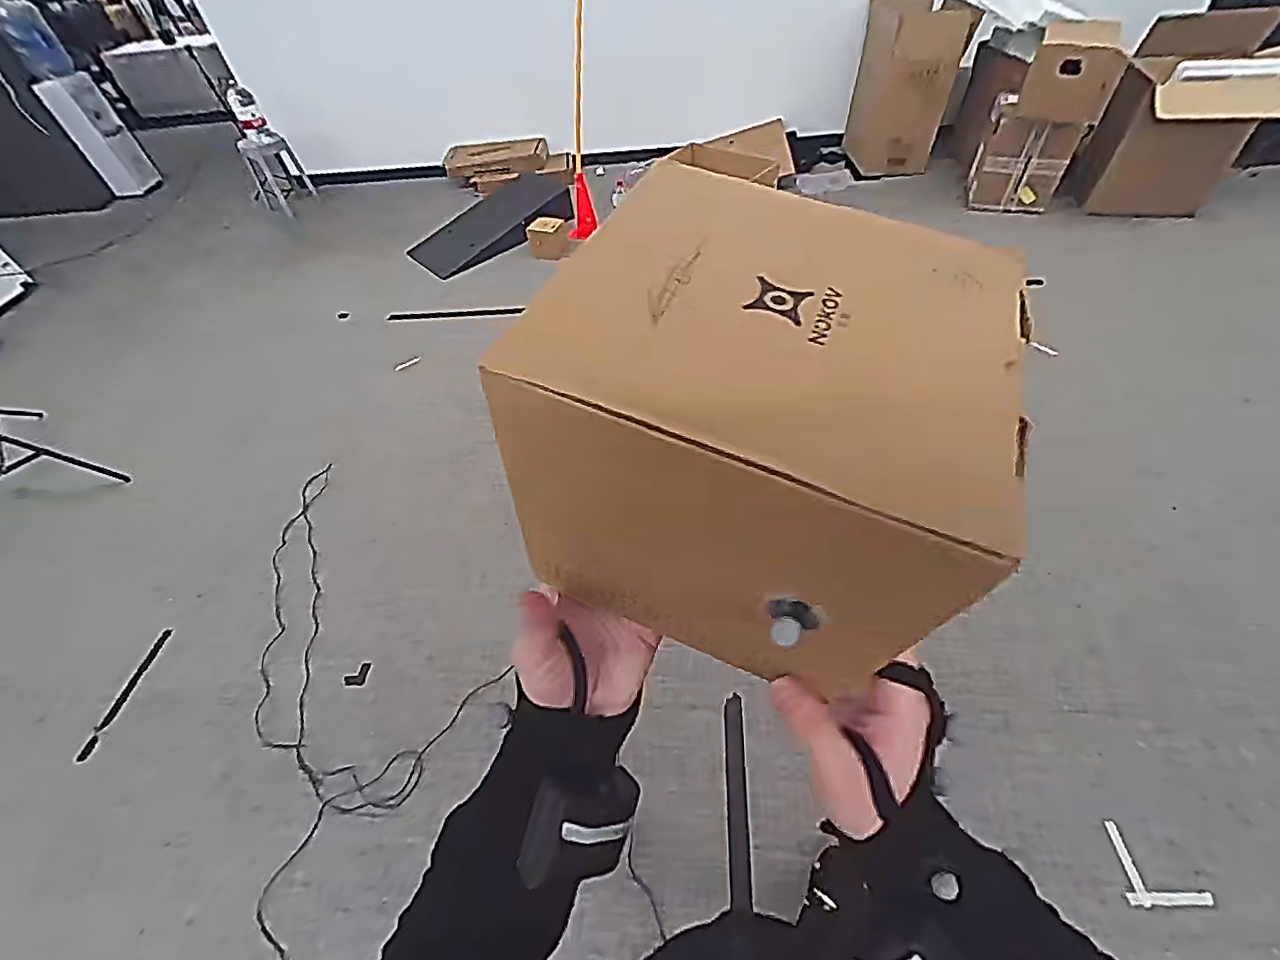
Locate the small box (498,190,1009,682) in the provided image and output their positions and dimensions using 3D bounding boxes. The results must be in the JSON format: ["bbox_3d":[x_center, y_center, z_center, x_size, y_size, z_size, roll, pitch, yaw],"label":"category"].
[{"bbox_3d":[0.055,-0.014,0.285,0.179,0.176,0.168,19,55,11],"label":"small box"}]
